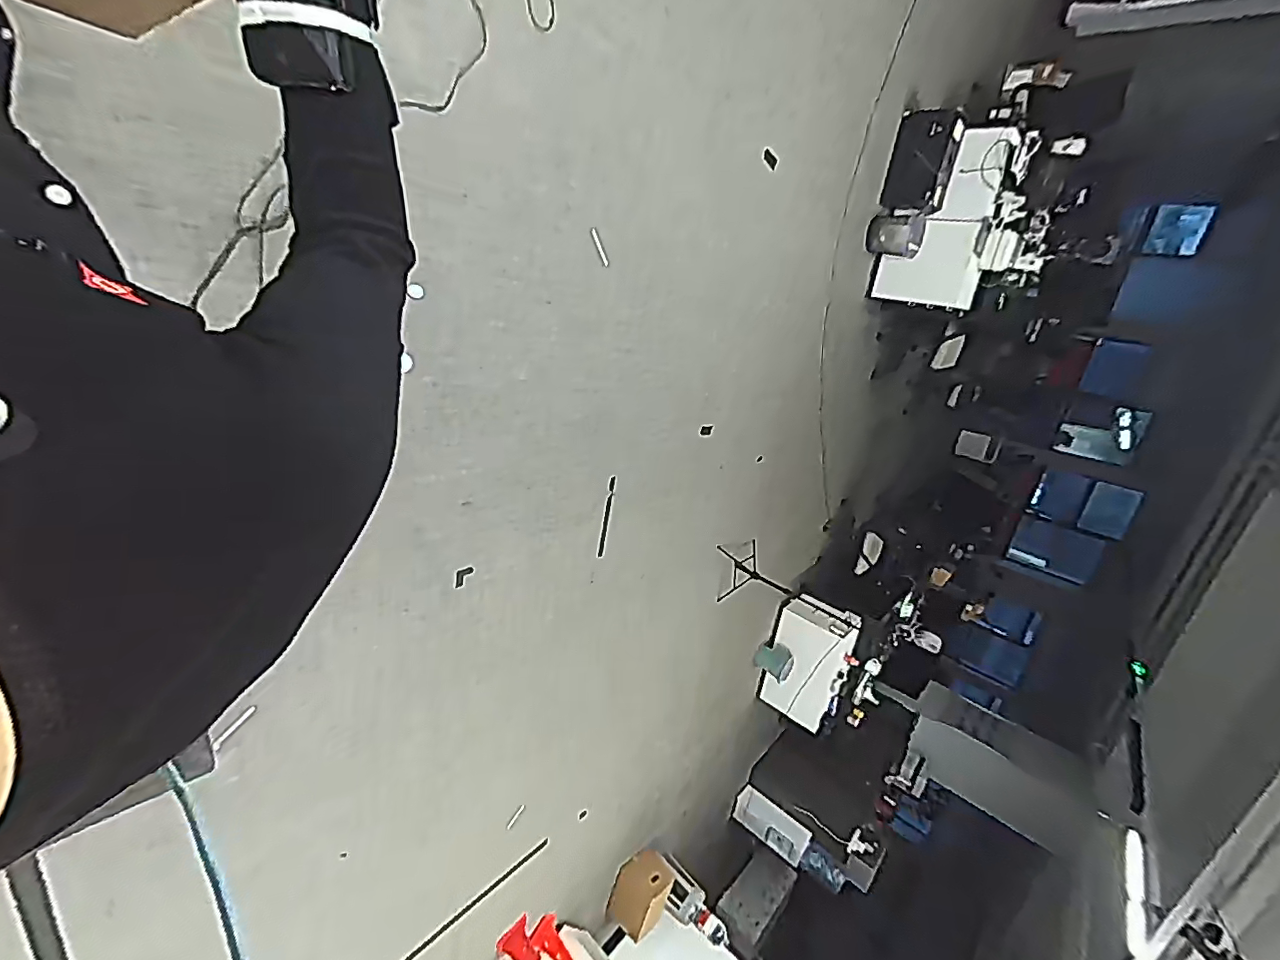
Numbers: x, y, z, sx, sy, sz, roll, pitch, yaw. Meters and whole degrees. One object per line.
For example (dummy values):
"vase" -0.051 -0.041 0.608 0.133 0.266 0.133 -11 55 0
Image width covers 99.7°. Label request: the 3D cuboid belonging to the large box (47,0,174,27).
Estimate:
"large box" -0.464 -0.484 0.227 0.408 0.320 0.320 -13 120 -50
